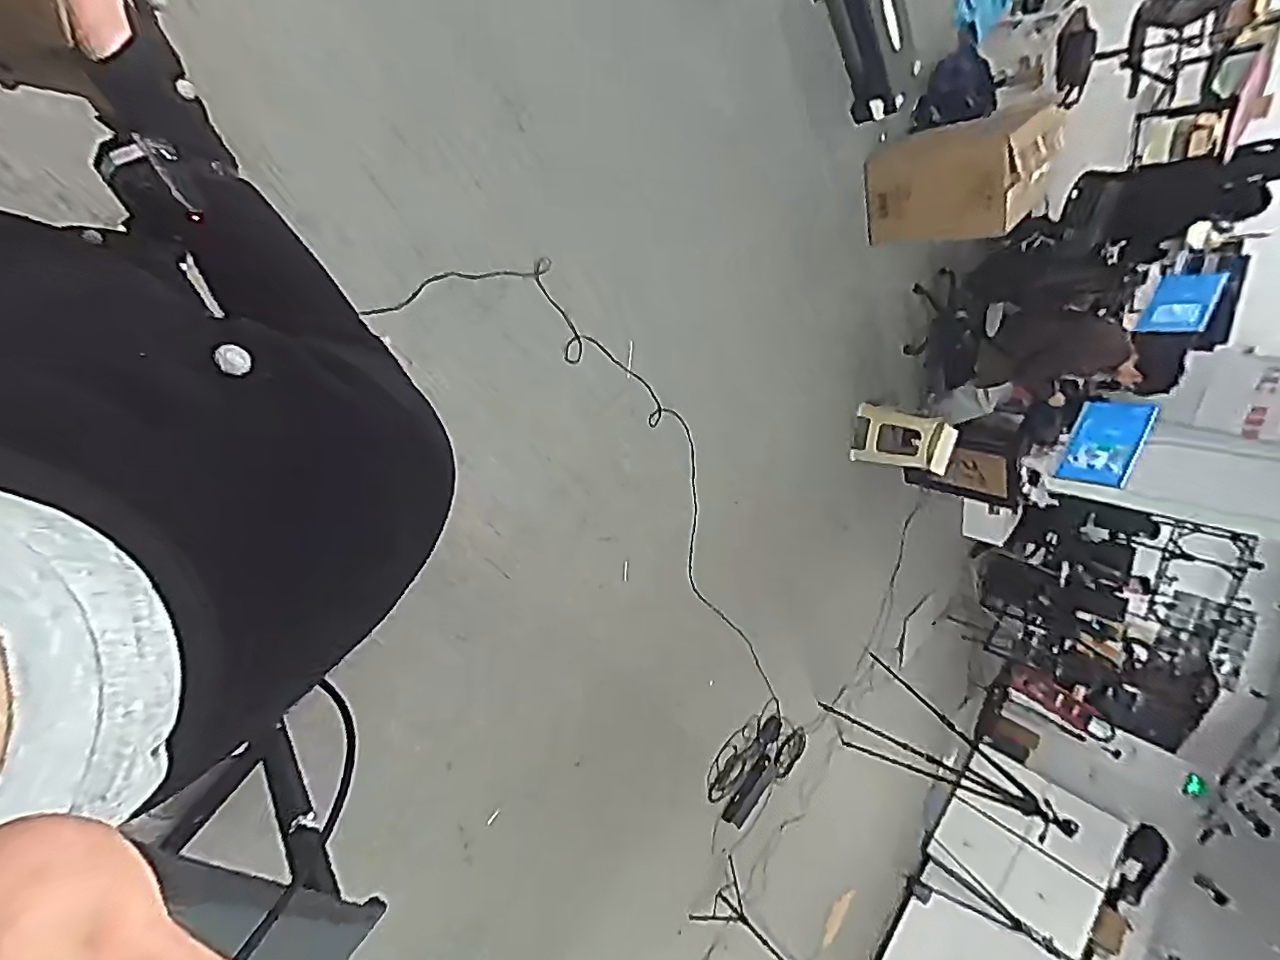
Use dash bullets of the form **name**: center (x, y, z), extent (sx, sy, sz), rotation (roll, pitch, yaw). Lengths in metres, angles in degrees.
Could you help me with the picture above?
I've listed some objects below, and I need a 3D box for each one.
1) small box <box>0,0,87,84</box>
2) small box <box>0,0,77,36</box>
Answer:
- **small box**: center (-0.499, -0.385, 0.350), extent (0.179, 0.176, 0.168), rotation (-12, 116, -38)
- **small box**: center (-0.393, -0.333, 0.236), extent (0.179, 0.176, 0.168), rotation (-14, 118, -40)
